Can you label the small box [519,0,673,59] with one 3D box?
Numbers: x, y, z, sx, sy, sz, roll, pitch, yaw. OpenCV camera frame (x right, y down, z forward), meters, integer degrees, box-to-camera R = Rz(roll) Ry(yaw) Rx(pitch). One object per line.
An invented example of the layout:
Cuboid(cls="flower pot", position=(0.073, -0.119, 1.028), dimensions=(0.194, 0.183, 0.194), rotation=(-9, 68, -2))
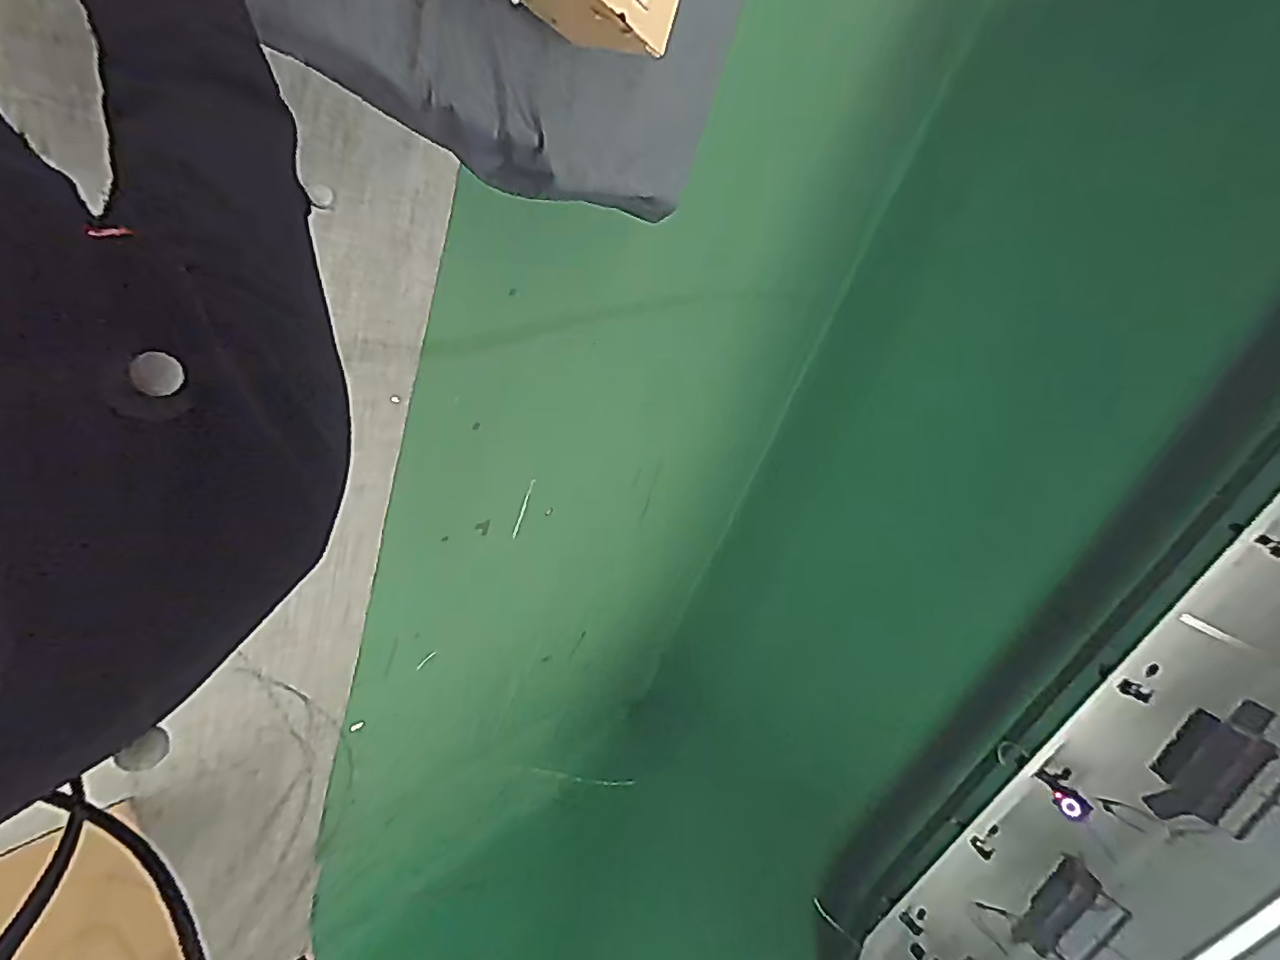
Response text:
Cuboid(cls="small box", position=(-0.060, -0.652, 0.647), dimensions=(0.168, 0.176, 0.179), rotation=(-11, 127, -54))
